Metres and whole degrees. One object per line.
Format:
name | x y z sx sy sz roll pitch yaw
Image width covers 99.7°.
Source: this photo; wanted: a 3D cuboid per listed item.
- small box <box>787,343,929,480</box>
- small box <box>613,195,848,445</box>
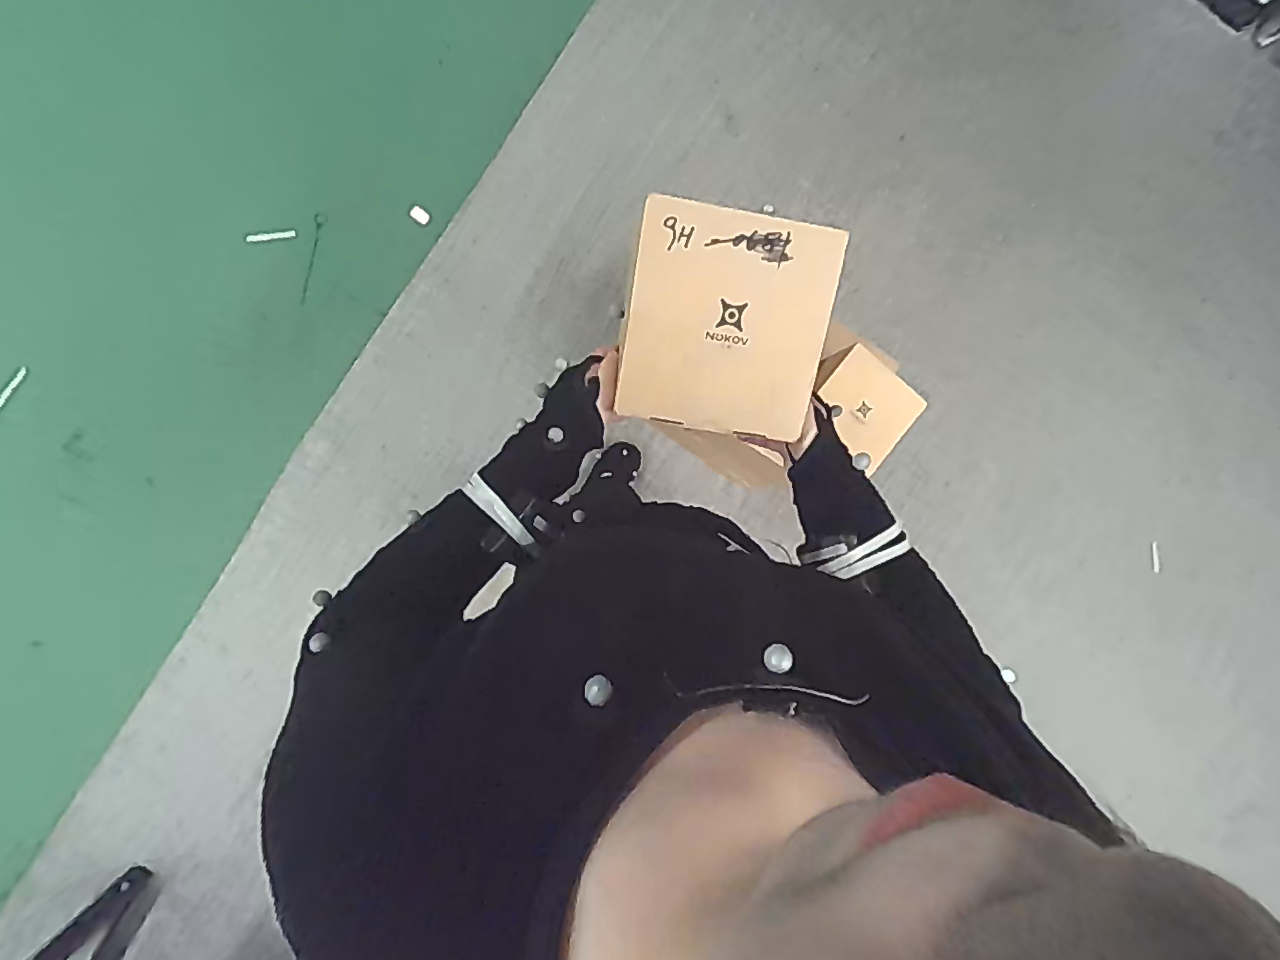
small box | 0.371 -0.117 0.989 0.168 0.176 0.179 39 88 -4
small box | 0.068 -0.146 0.516 0.168 0.176 0.179 7 106 -6
